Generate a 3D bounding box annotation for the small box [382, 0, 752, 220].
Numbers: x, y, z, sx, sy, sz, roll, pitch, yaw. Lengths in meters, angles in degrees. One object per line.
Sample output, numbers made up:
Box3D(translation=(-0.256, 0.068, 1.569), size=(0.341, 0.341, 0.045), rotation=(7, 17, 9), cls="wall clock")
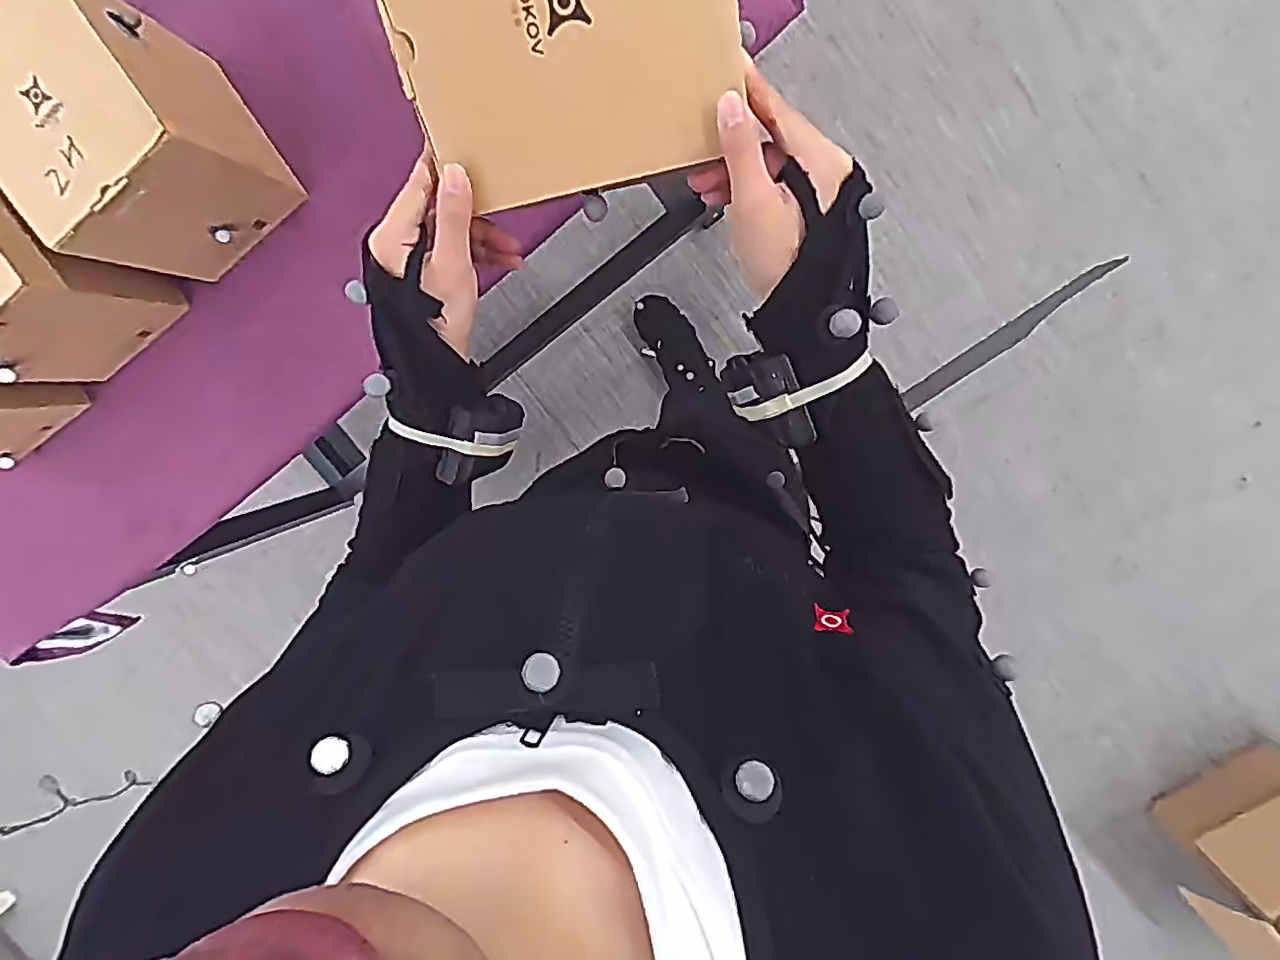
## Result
Box3D(translation=(-0.034, -0.272, 0.334), size=(0.179, 0.176, 0.168), rotation=(-7, 118, 10), cls="small box")
